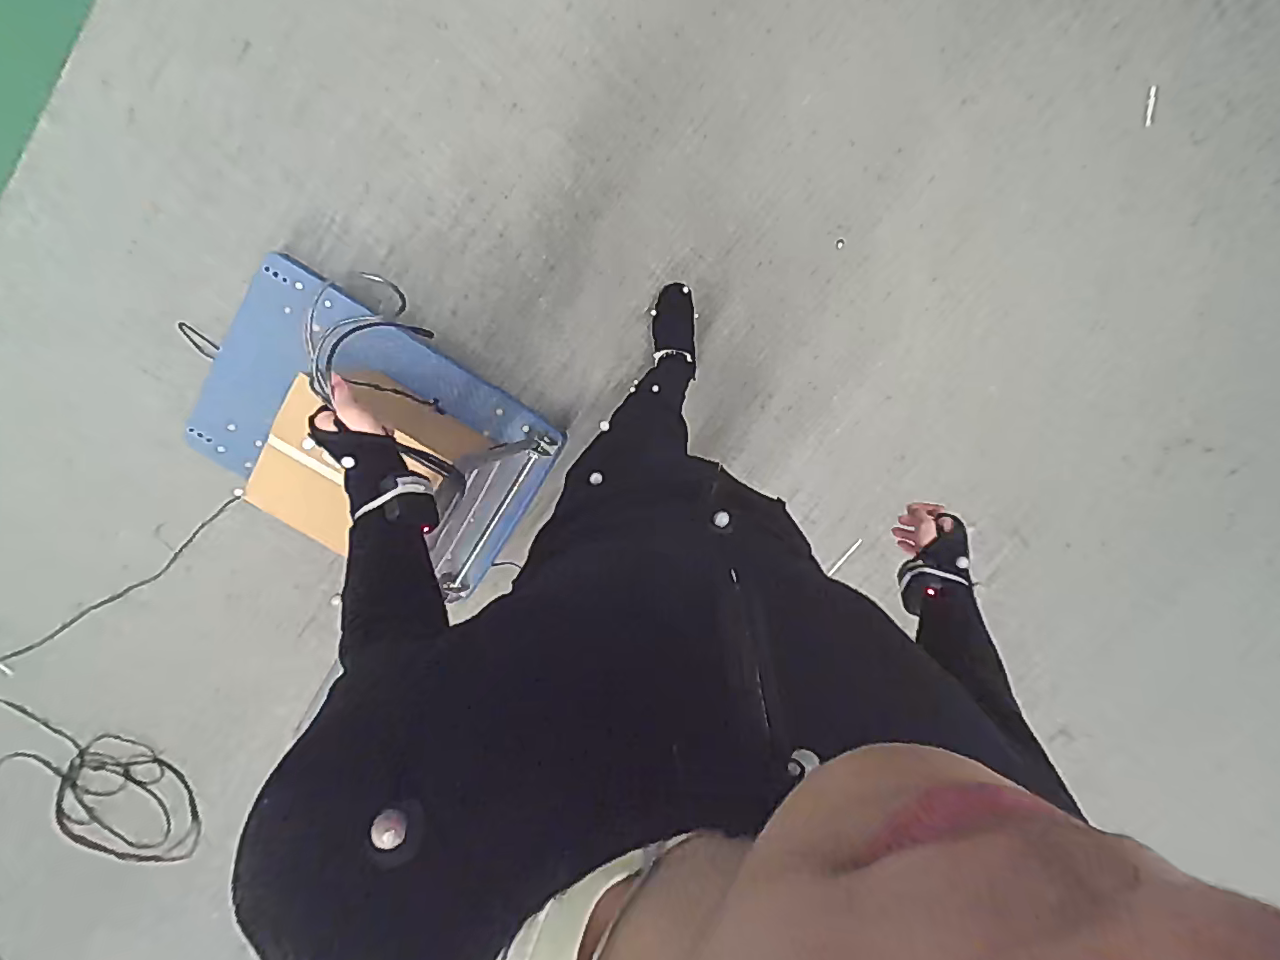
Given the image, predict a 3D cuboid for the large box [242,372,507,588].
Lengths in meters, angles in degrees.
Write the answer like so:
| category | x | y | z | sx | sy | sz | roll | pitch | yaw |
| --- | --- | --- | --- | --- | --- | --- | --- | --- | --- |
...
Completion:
| category | x | y | z | sx | sy | sz | roll | pitch | yaw |
| --- | --- | --- | --- | --- | --- | --- | --- | --- | --- |
| large box | -0.592 | -0.019 | 1.276 | 0.408 | 0.320 | 0.320 | 32 | 101 | -4 |
